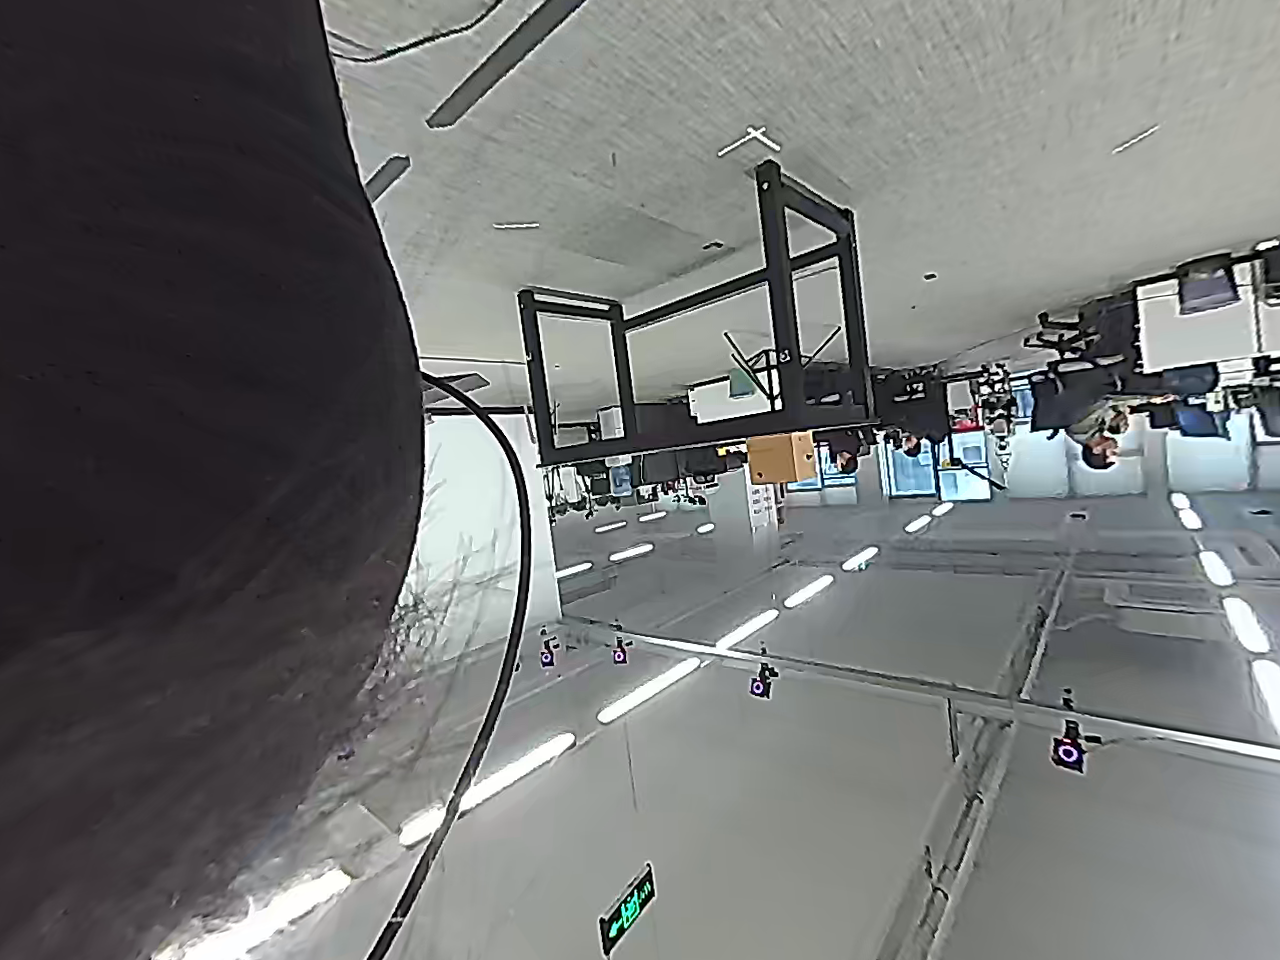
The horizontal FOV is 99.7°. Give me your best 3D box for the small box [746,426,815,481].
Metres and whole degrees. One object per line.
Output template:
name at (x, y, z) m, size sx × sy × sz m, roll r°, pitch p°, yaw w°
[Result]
small box at (0.486, -0.096, 1.875) m, size 0.179 × 0.176 × 0.168 m, roll -5°, pitch -177°, yaw 41°
